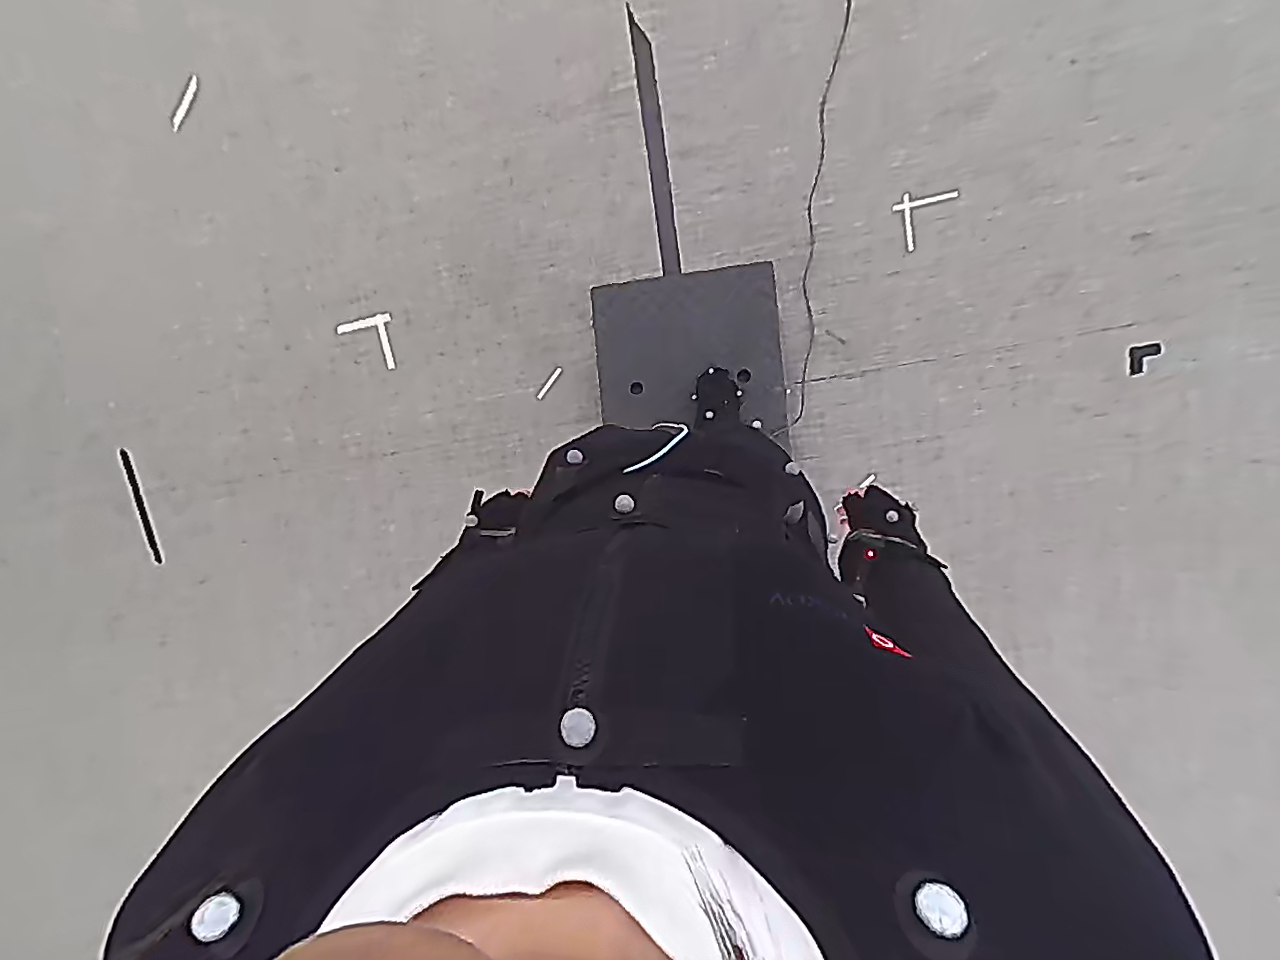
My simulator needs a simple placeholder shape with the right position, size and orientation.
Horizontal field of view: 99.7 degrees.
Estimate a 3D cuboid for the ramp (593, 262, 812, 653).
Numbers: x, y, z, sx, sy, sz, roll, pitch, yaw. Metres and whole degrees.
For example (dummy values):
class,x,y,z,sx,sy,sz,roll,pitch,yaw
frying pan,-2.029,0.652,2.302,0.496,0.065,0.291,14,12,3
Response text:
class,x,y,z,sx,sy,sz,roll,pitch,yaw
ramp,0.153,-0.052,1.436,0.509,0.206,0.991,-7,98,10
